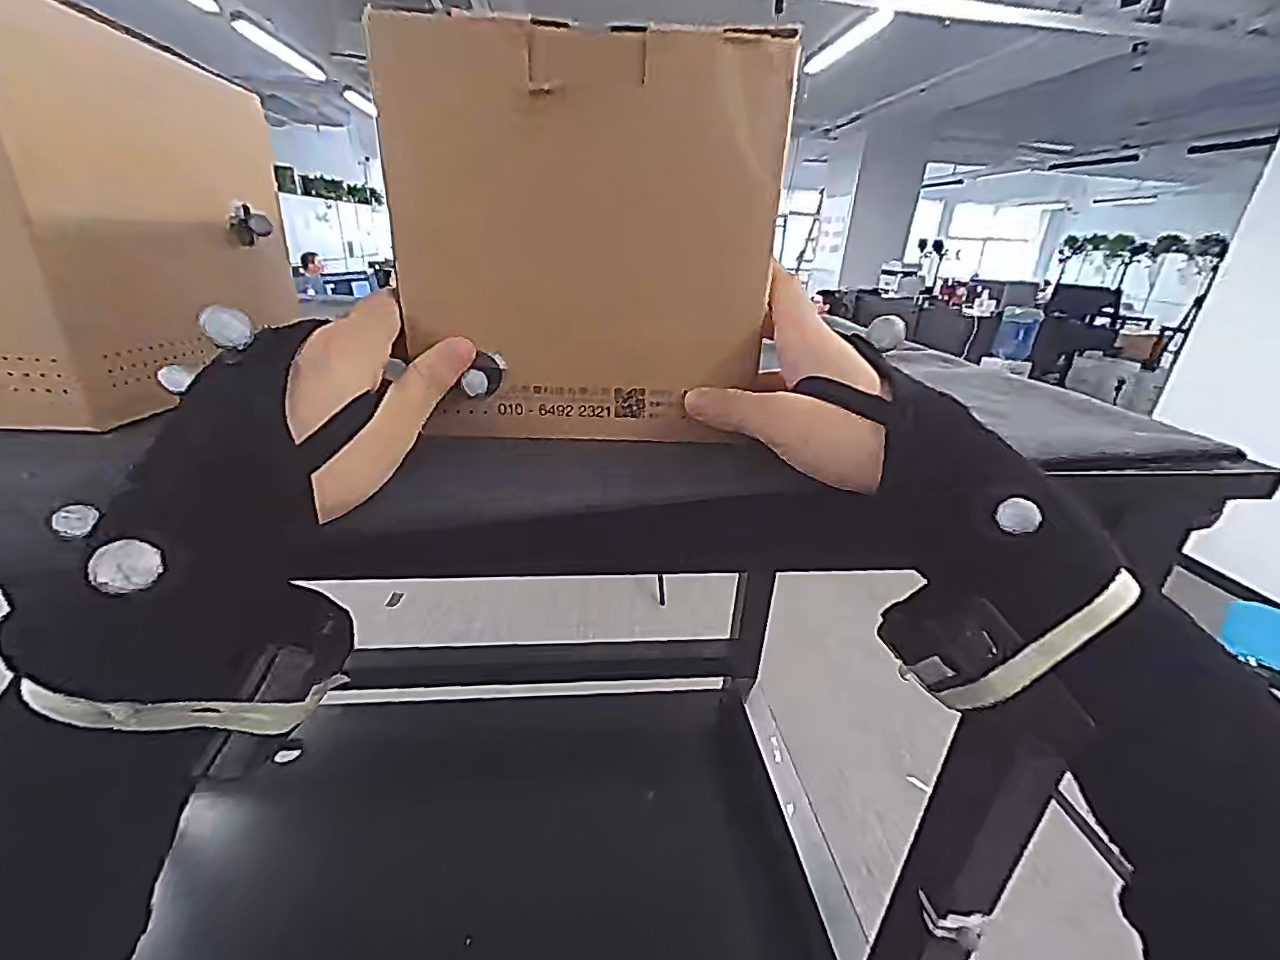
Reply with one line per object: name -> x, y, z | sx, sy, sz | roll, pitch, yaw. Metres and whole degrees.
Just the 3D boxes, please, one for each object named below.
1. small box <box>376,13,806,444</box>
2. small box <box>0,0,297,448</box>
small box -> -0.022, -0.124, 0.308 | 0.168, 0.176, 0.179 | 1, 23, -4
small box -> -0.305, -0.124, 0.272 | 0.168, 0.176, 0.179 | 1, 23, -4
